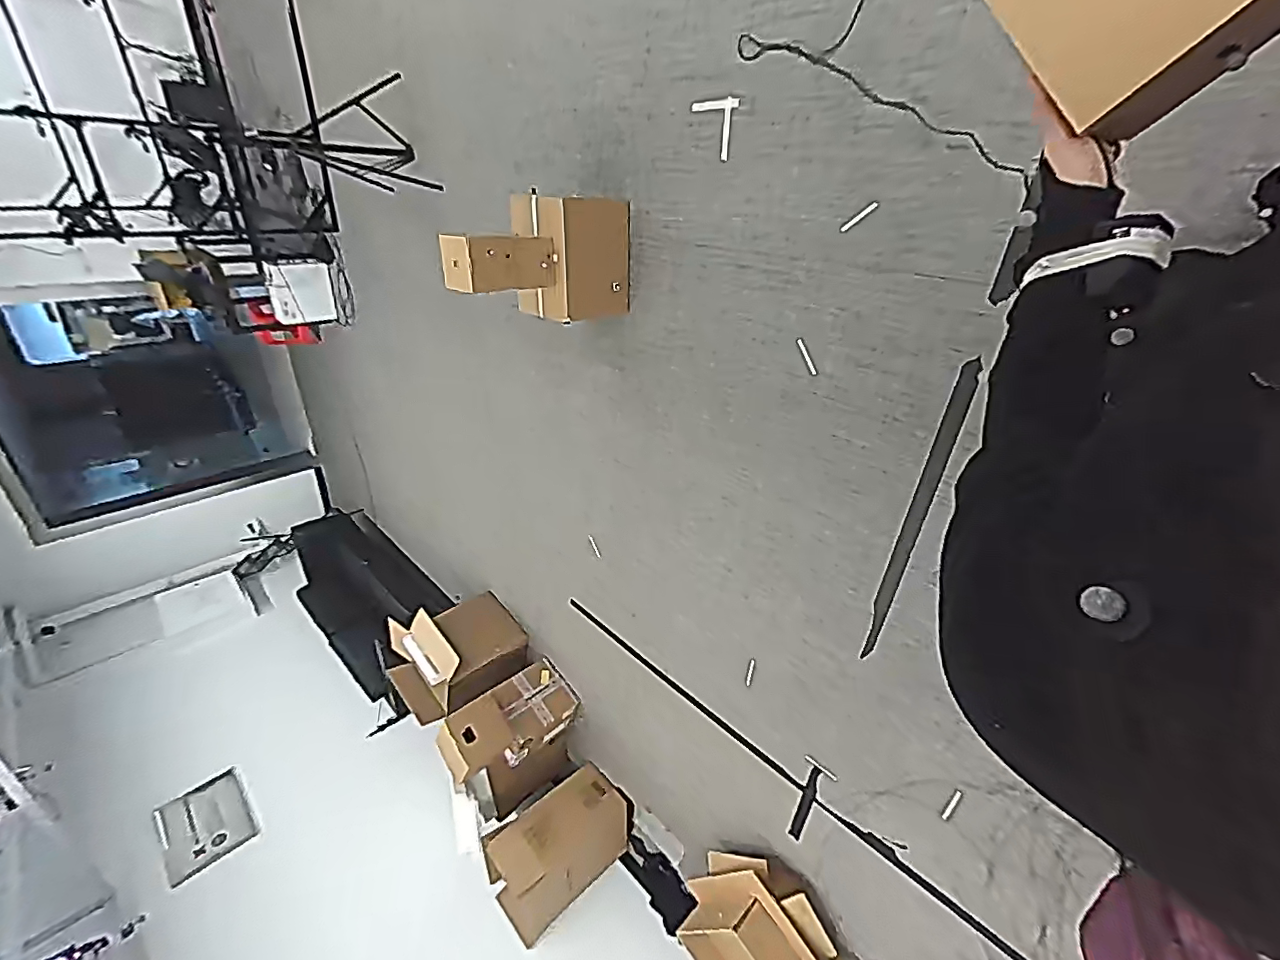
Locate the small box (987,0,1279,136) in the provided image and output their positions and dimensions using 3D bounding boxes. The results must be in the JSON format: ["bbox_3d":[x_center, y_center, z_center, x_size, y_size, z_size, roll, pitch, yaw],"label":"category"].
[{"bbox_3d":[0.385,-0.387,0.392,0.168,0.176,0.179,-36,79,54],"label":"small box"}]

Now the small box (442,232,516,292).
[{"bbox_3d":[-0.517,-0.715,1.761,0.179,0.176,0.168,24,124,39],"label":"small box"}]

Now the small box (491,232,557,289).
[{"bbox_3d":[-0.408,-0.764,1.871,0.179,0.176,0.168,24,126,38],"label":"small box"}]
